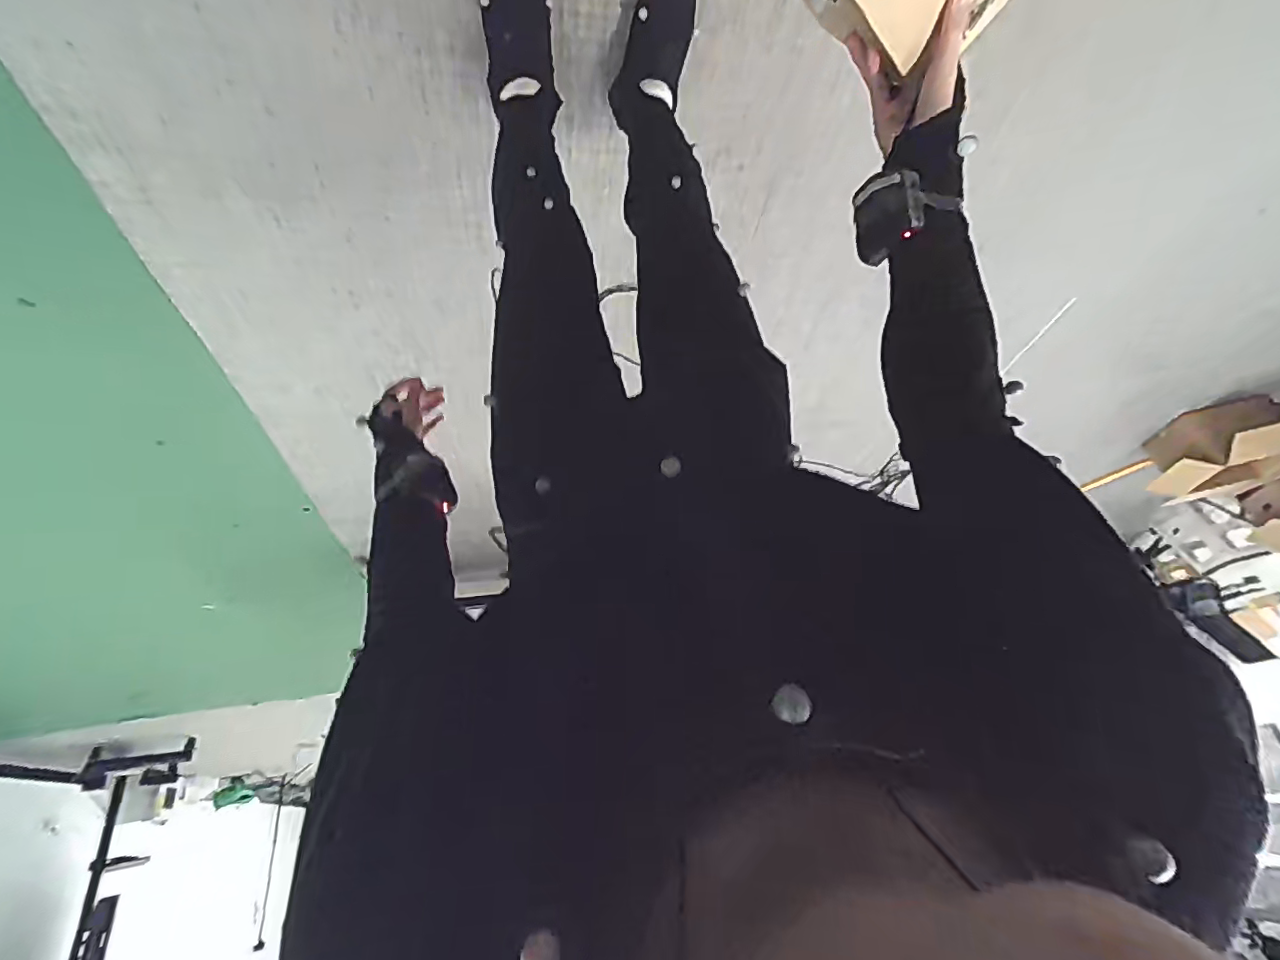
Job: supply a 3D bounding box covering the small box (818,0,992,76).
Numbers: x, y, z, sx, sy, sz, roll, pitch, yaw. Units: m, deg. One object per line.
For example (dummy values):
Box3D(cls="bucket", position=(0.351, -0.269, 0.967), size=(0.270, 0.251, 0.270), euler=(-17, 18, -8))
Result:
Box3D(cls="small box", position=(0.207, -0.477, 0.419), size=(0.179, 0.176, 0.168), euler=(7, 139, -43))
